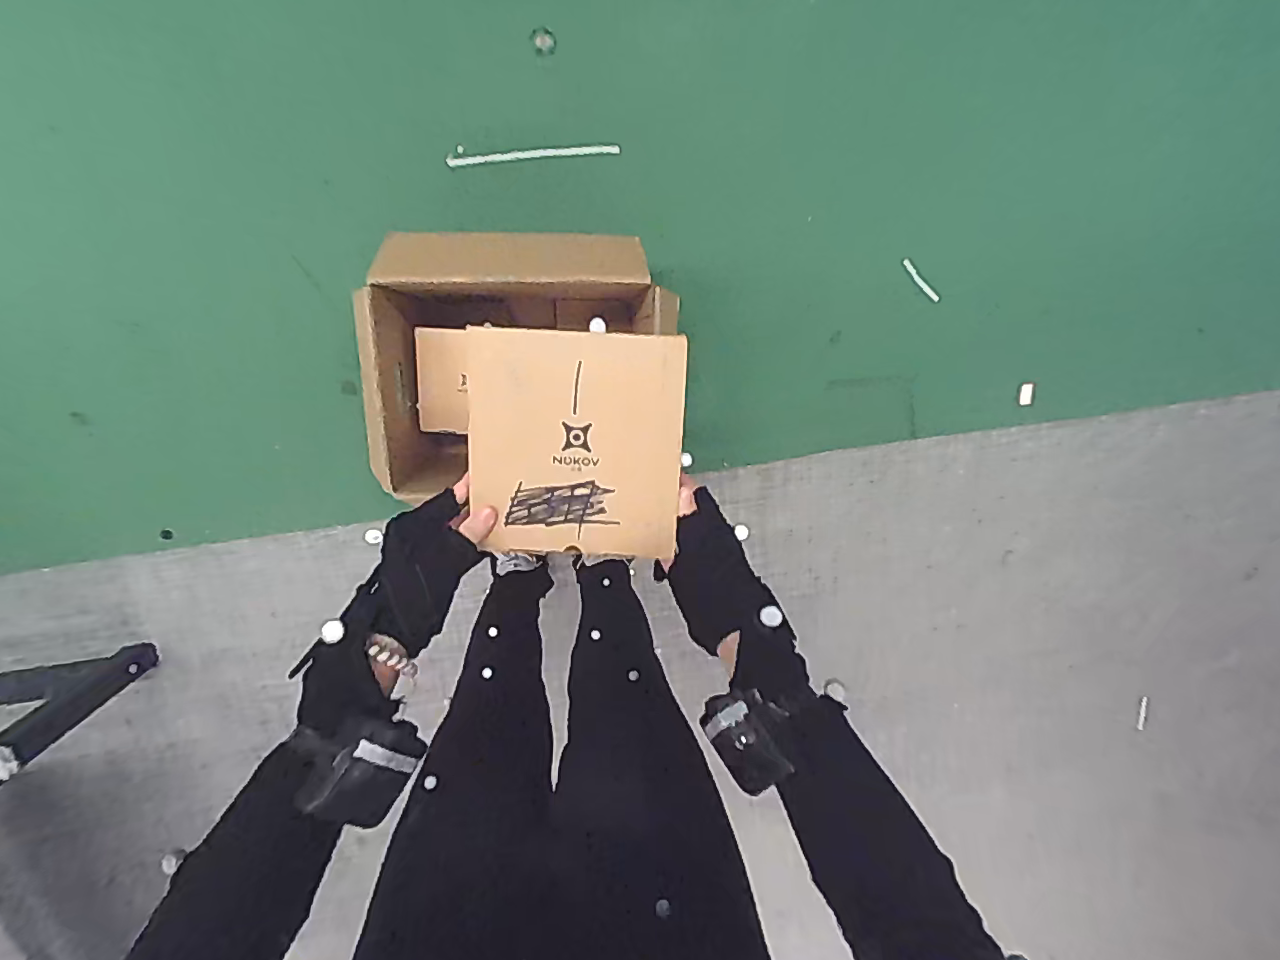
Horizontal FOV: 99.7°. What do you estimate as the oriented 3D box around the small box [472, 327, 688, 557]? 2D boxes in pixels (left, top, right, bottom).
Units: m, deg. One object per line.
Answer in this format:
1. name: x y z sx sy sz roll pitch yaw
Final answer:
1. small box: -0.048 -0.043 0.499 0.168 0.176 0.179 2 102 -1
